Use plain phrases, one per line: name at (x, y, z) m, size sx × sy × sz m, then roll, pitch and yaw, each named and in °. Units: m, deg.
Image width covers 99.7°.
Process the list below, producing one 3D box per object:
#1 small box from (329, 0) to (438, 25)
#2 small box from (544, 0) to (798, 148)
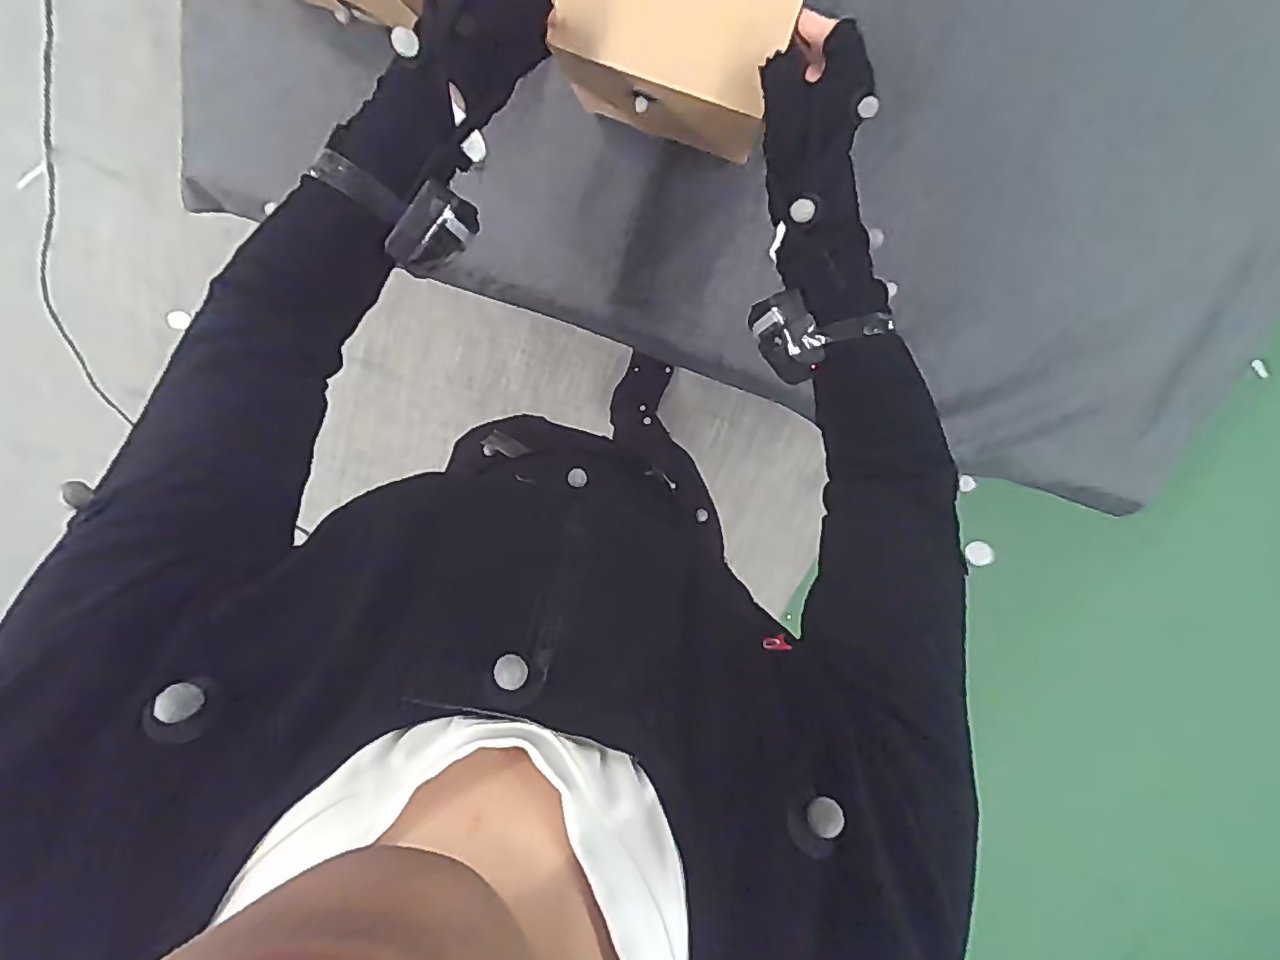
small box at (-0.269, -0.523, 0.449) m, size 0.179 × 0.176 × 0.168 m, roll 16°, pitch 112°, yaw -2°
small box at (0.040, -0.405, 0.453) m, size 0.179 × 0.176 × 0.168 m, roll 18°, pitch 112°, yaw -2°
